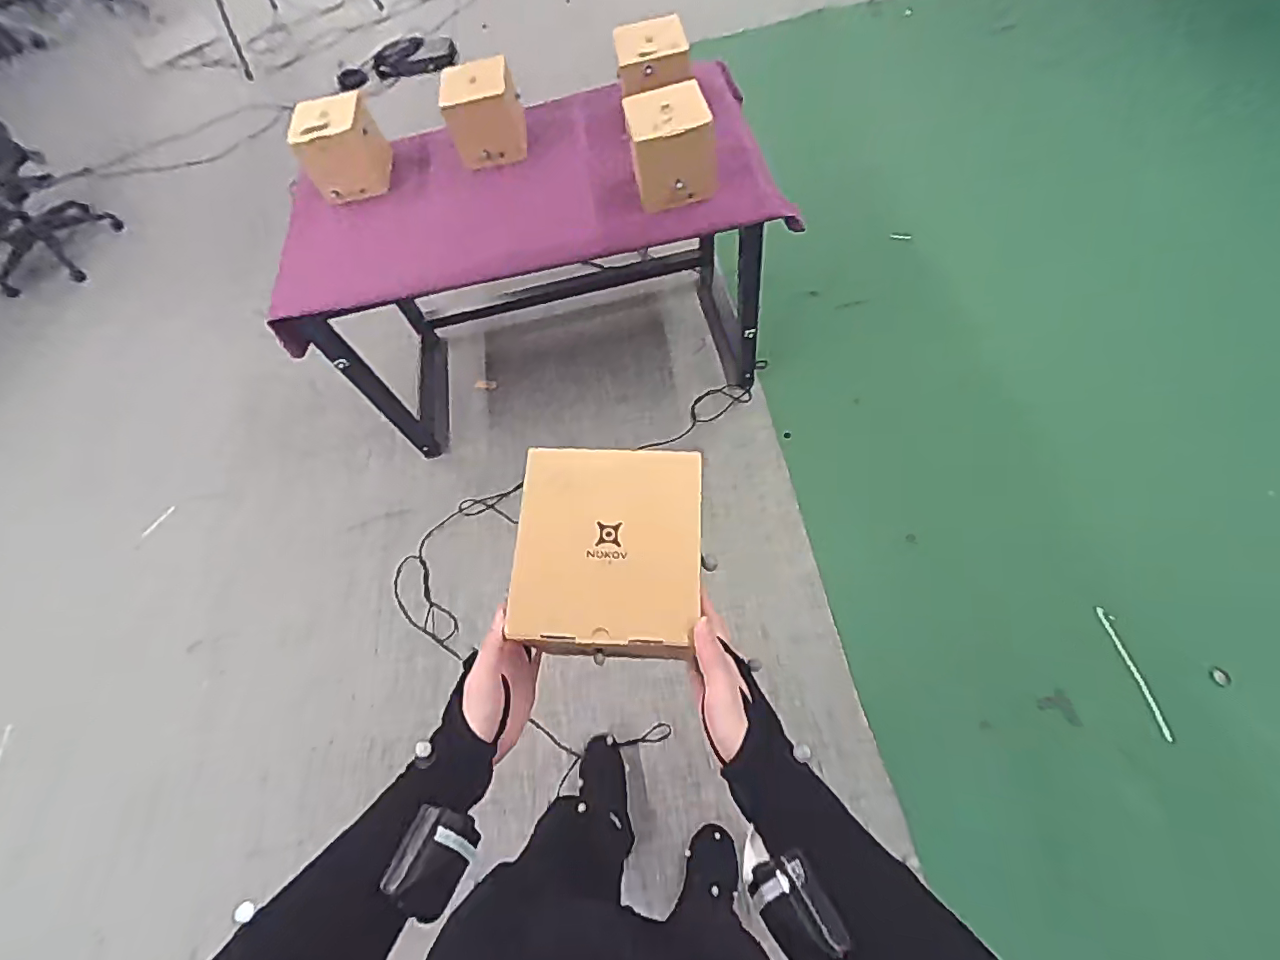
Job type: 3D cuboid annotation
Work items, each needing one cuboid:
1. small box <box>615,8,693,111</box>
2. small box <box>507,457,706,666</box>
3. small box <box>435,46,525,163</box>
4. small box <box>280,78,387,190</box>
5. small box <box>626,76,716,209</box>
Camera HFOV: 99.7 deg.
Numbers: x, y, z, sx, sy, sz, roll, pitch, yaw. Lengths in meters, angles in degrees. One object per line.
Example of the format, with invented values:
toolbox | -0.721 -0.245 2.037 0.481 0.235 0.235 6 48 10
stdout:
small box | 0.037 -1.006 1.330 0.168 0.176 0.179 -10 63 4
small box | -0.024 0.091 0.545 0.168 0.176 0.179 2 71 2
small box | -0.393 -0.938 1.357 0.168 0.176 0.179 -9 64 4
small box | -0.763 -0.861 1.364 0.168 0.176 0.179 -10 64 2
small box | 0.070 -0.736 1.189 0.168 0.176 0.179 -12 63 3
